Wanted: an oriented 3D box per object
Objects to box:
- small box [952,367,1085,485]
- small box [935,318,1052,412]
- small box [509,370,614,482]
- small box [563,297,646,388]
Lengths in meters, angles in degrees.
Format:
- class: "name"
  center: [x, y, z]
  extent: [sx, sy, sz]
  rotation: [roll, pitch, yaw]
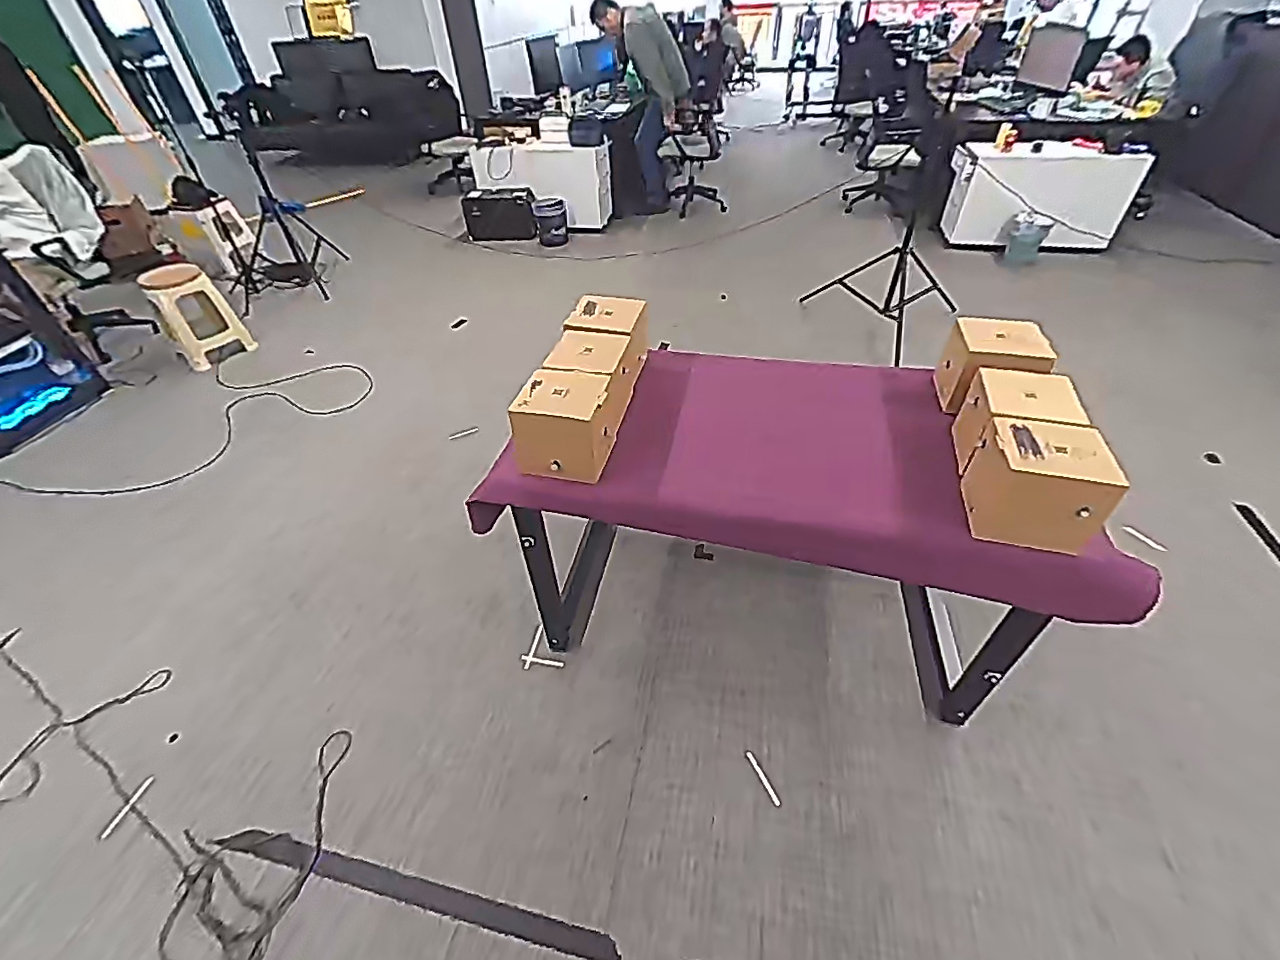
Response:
- class: "small box"
  center: [0.770, -0.111, 1.123]
  extent: [0.168, 0.176, 0.179]
  rotation: [10, 43, 15]
- class: "small box"
  center: [0.818, -0.265, 1.278]
  extent: [0.179, 0.176, 0.168]
  rotation: [8, 45, 11]
- class: "small box"
  center: [-0.158, -0.115, 1.167]
  extent: [0.179, 0.176, 0.168]
  rotation: [9, 43, 10]
- class: "small box"
  center: [-0.087, -0.362, 1.429]
  extent: [0.179, 0.176, 0.168]
  rotation: [9, 46, 11]
